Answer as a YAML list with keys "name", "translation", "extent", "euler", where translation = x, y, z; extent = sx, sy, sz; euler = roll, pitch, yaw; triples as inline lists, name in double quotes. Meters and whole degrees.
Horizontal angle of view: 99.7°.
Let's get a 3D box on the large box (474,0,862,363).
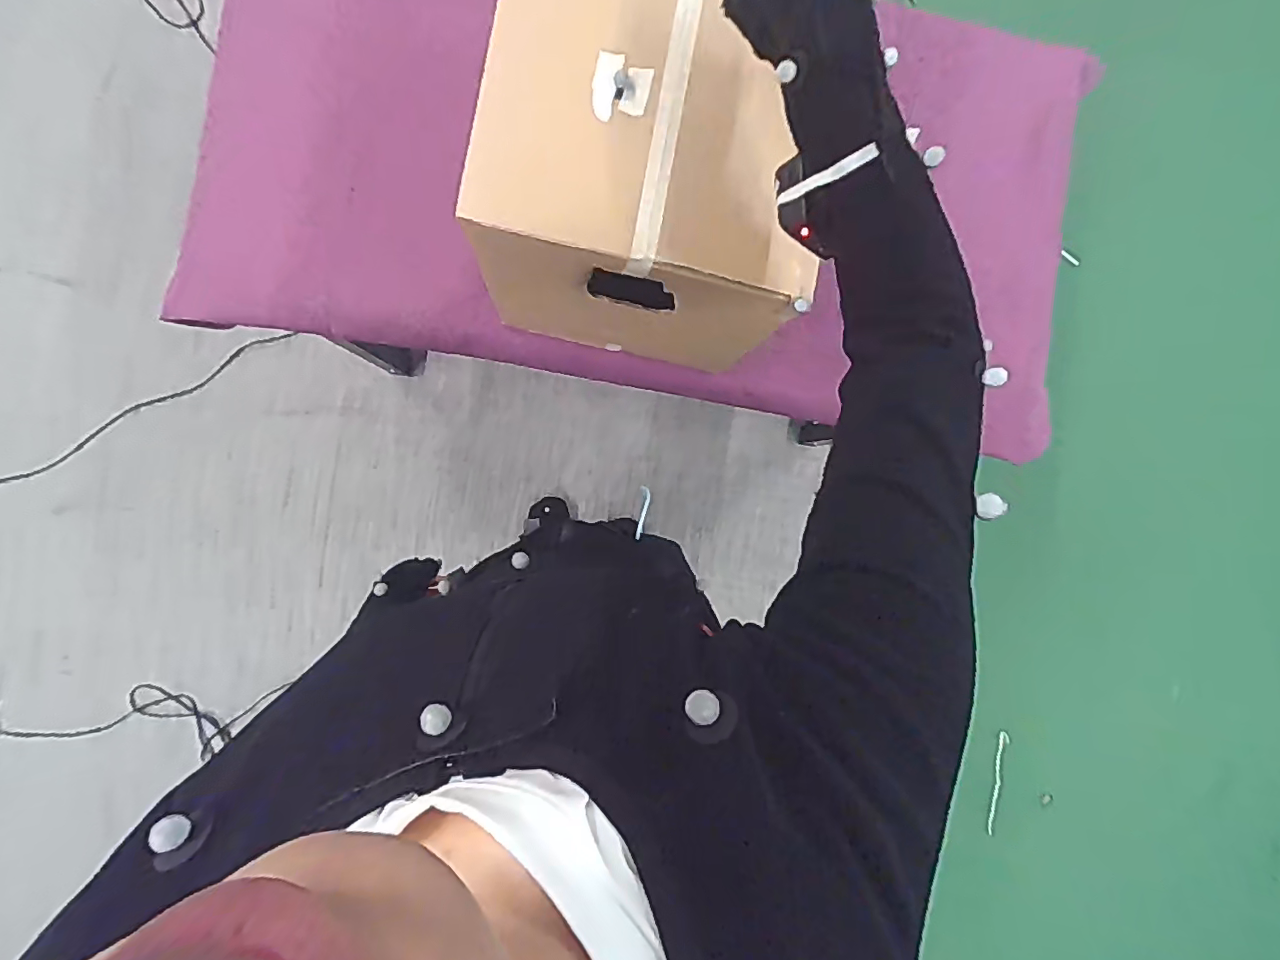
- name: "large box"
  translation: [0.020, -0.390, 0.627]
  extent: [0.320, 0.320, 0.408]
  euler: [11, 90, -7]
